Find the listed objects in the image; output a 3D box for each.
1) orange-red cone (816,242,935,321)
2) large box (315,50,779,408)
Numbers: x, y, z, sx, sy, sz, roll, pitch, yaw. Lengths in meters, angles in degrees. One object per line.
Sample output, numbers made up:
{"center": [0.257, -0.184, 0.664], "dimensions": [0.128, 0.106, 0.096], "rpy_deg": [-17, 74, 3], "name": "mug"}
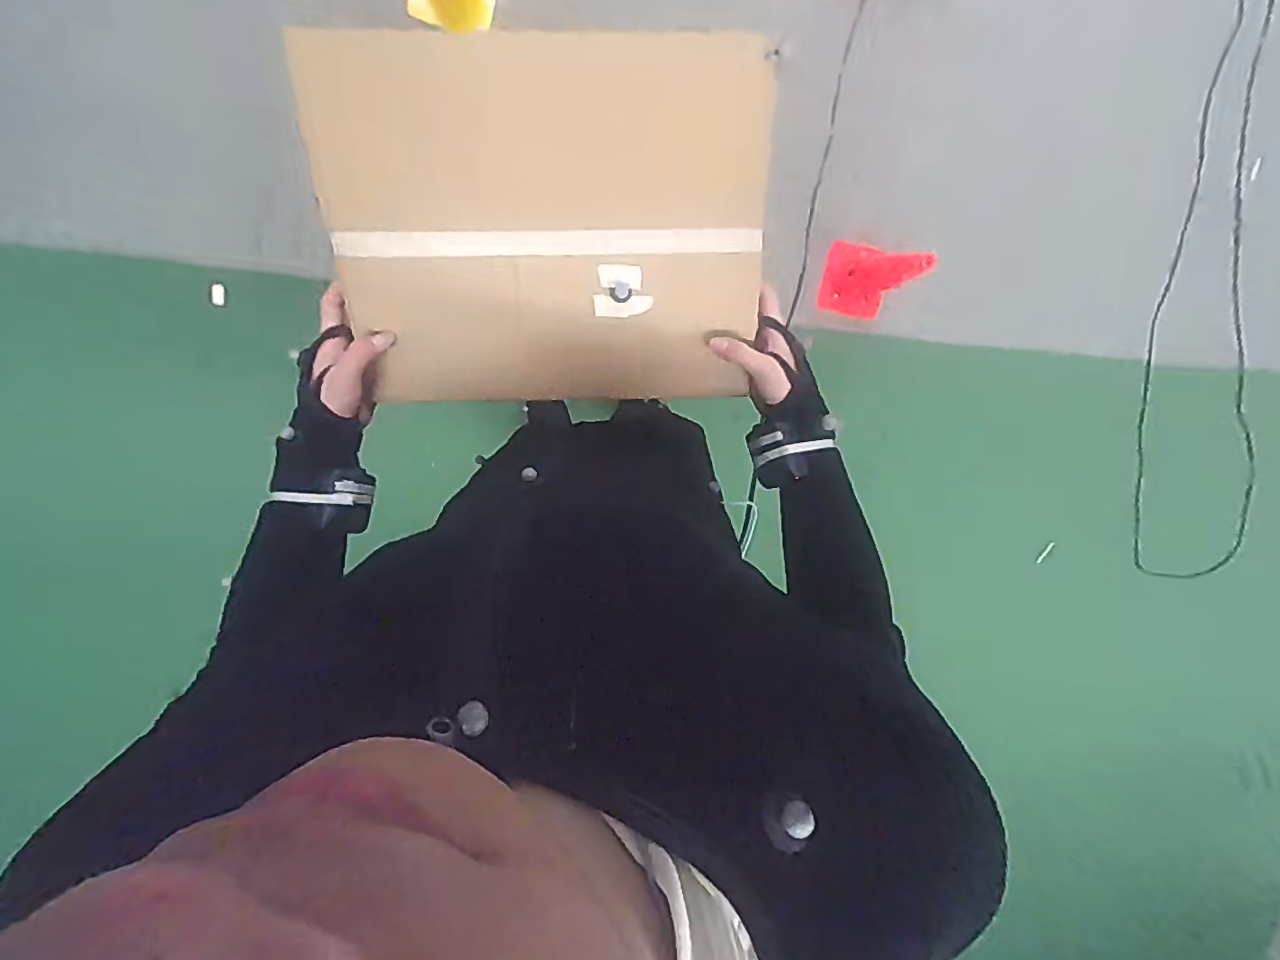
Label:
{"center": [0.663, -0.553, 1.455], "dimensions": [0.199, 0.360, 0.198], "rpy_deg": [10, 102, -11], "name": "orange-red cone"}
{"center": [-0.085, -0.287, 0.658], "dimensions": [0.408, 0.320, 0.320], "rpy_deg": [-2, 116, -3], "name": "large box"}
